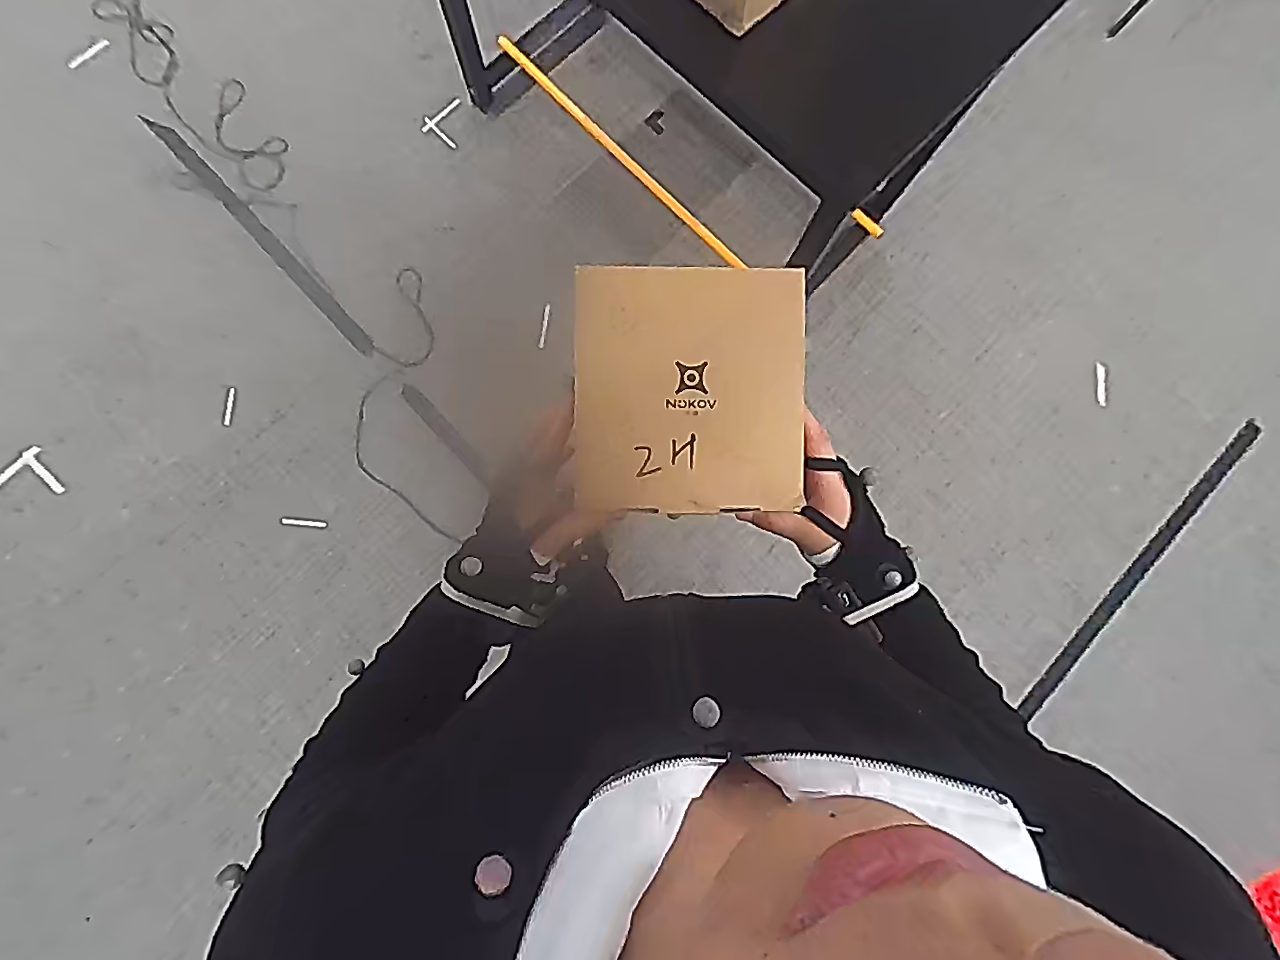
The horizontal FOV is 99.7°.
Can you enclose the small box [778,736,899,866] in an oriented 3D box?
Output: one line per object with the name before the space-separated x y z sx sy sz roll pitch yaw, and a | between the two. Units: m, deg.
small box | 0.461 0.746 1.282 0.179 0.176 0.168 43 81 5
